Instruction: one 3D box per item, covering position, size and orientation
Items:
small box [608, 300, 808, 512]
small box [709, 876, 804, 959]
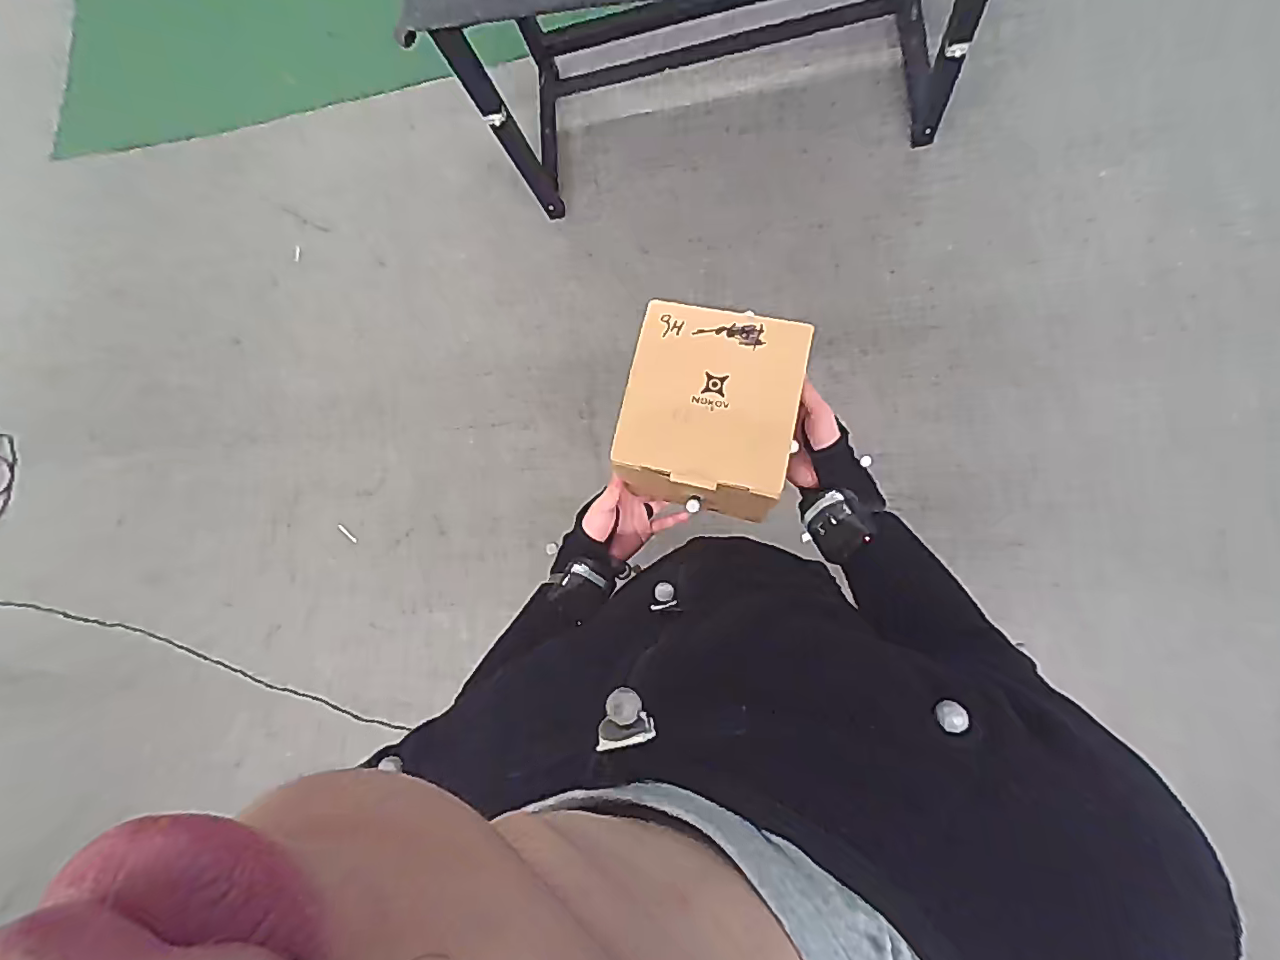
[{"bbox_3d":[0.076,-0.069,0.600,0.168,0.176,0.179,12,80,9],"label":"small box"},{"bbox_3d":[0.277,1.131,1.321,0.168,0.176,0.179,40,93,15],"label":"small box"}]
